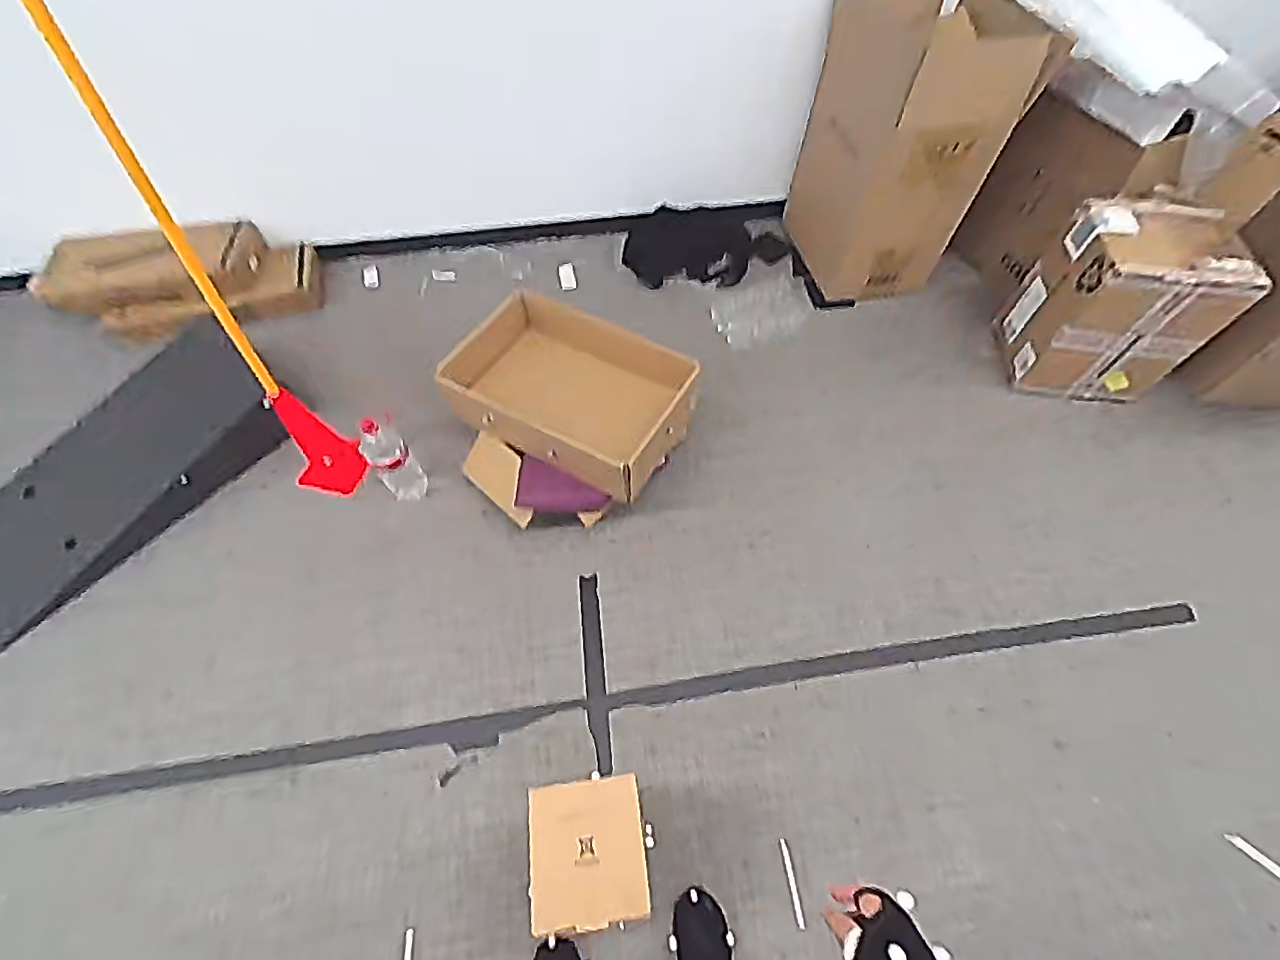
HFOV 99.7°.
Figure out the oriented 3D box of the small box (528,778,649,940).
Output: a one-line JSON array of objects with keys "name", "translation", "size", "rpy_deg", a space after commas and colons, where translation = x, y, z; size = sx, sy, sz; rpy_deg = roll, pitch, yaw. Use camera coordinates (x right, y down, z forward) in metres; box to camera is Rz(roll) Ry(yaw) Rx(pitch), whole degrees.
[{"name": "small box", "translation": [-0.077, 0.578, 0.842], "size": [0.168, 0.176, 0.179], "rpy_deg": [-7, 57, -5]}]
